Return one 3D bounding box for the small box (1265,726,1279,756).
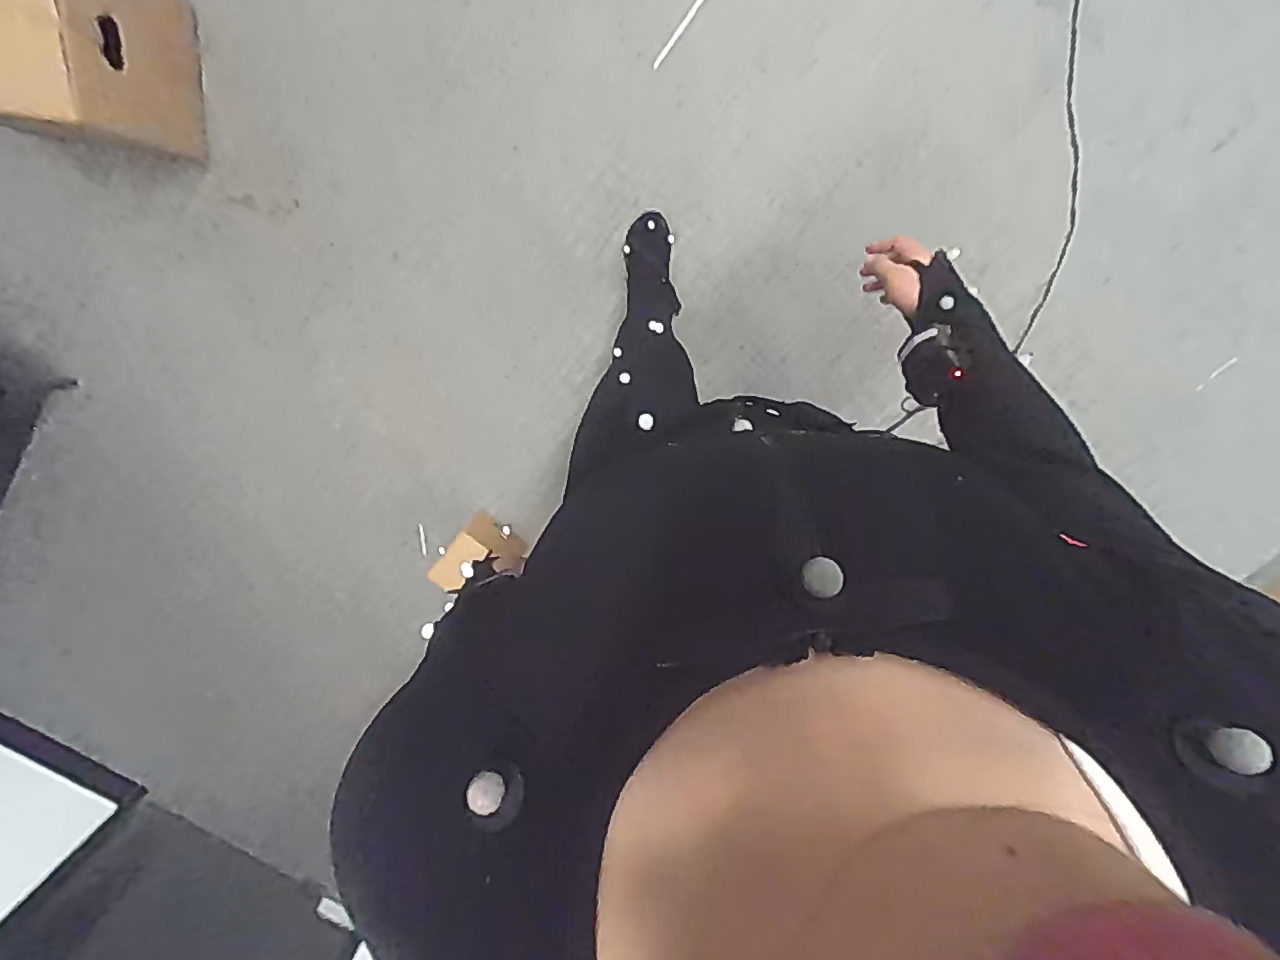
[{"bbox_3d":[1.756,0.702,1.345,0.179,0.176,0.168,40,104,-10],"label":"small box"}]

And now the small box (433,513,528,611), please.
[{"bbox_3d":[-0.435,0.223,1.509,0.168,0.176,0.179,38,105,-11],"label":"small box"}]
